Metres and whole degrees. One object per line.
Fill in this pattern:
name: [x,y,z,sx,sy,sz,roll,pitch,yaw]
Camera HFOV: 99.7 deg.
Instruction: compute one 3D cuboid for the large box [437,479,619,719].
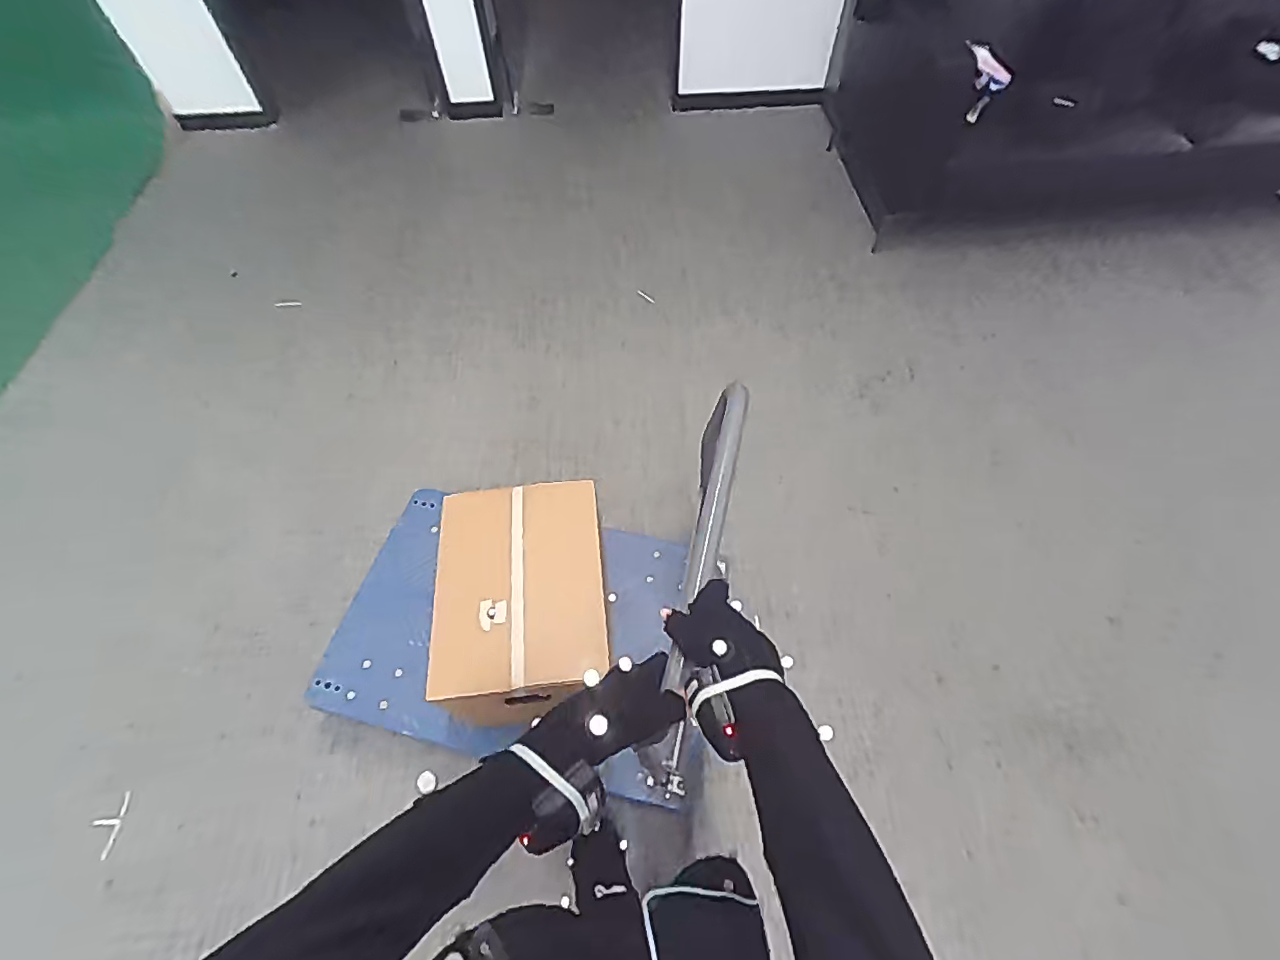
large box: [-0.217,0.255,1.147,0.320,0.320,0.408,-6,59,-3]
